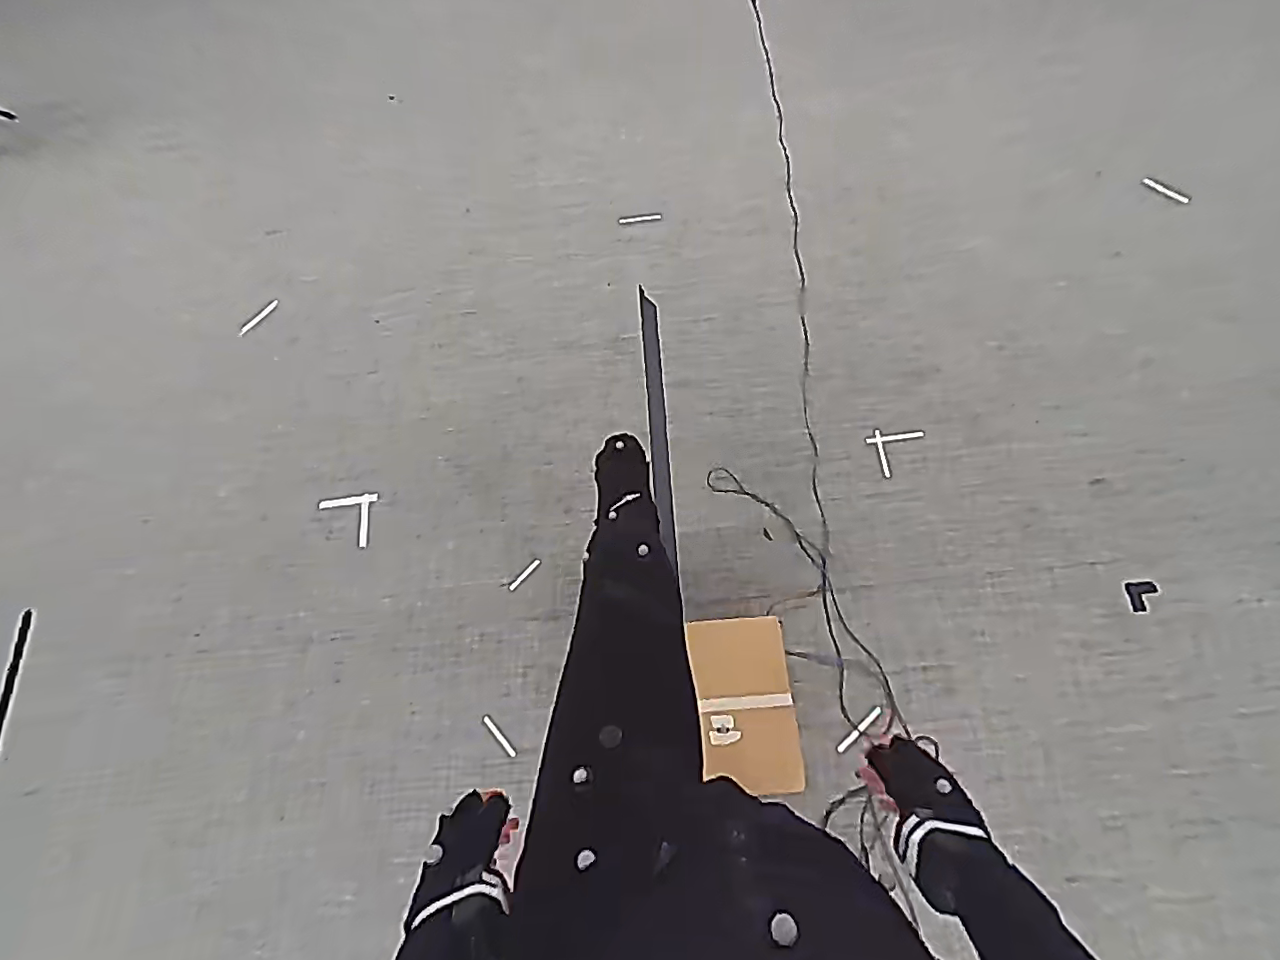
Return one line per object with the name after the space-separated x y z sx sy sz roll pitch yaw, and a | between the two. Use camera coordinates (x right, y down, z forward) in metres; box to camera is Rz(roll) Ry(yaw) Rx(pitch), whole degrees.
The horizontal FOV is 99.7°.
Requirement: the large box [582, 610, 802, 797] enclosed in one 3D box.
0.102 0.479 1.189 0.408 0.320 0.320 -6 70 3 | large box
